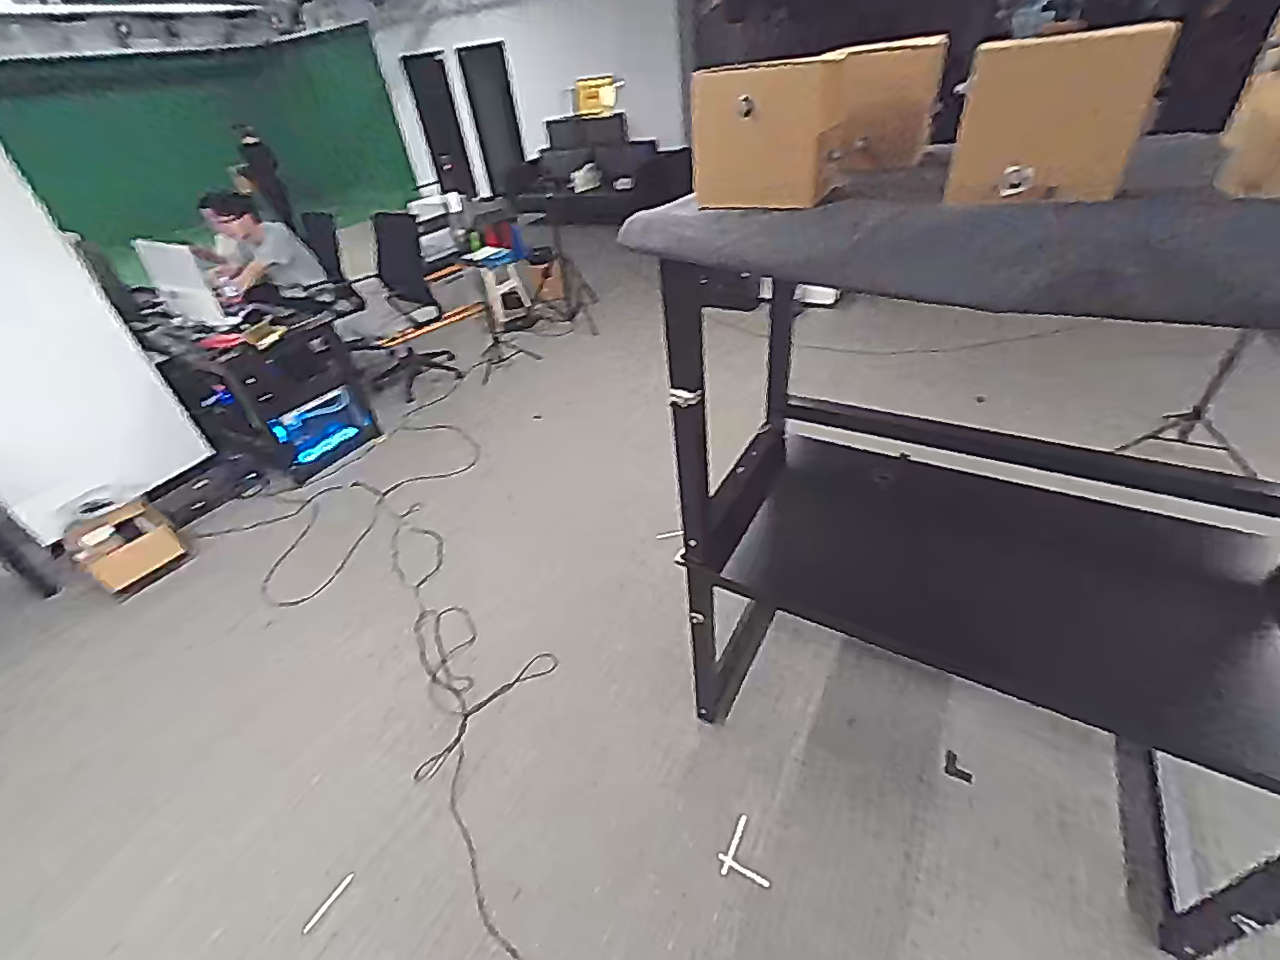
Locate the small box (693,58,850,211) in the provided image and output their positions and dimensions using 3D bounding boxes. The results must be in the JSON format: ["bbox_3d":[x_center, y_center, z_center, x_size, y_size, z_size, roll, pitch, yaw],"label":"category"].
[{"bbox_3d":[0.190,-0.499,0.787,0.179,0.176,0.168,14,42,24],"label":"small box"}]

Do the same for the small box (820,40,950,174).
[{"bbox_3d":[0.410,-0.641,0.935,0.179,0.176,0.168,15,43,25],"label":"small box"}]

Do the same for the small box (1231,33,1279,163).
[{"bbox_3d":[0.909,-0.505,0.678,0.168,0.176,0.179,15,43,27],"label":"small box"}]

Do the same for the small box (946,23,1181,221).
[{"bbox_3d":[0.474,-0.417,0.638,0.168,0.176,0.179,12,41,25],"label":"small box"}]
